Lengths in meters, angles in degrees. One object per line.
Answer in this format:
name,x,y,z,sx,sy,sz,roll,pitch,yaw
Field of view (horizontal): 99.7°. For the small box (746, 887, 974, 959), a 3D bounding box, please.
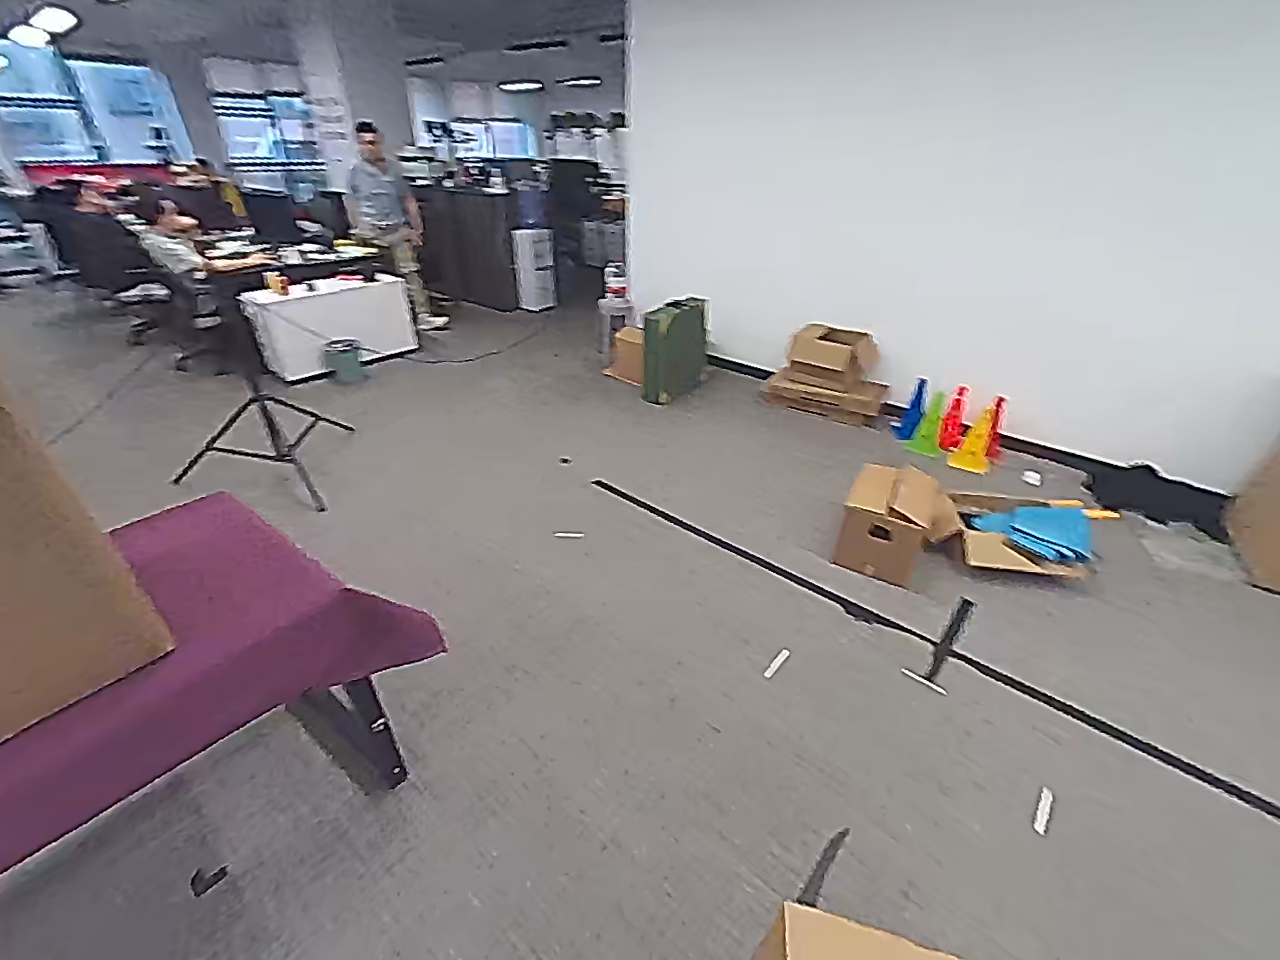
small box,0.168,0.478,0.420,0.179,0.176,0.168,17,21,4
